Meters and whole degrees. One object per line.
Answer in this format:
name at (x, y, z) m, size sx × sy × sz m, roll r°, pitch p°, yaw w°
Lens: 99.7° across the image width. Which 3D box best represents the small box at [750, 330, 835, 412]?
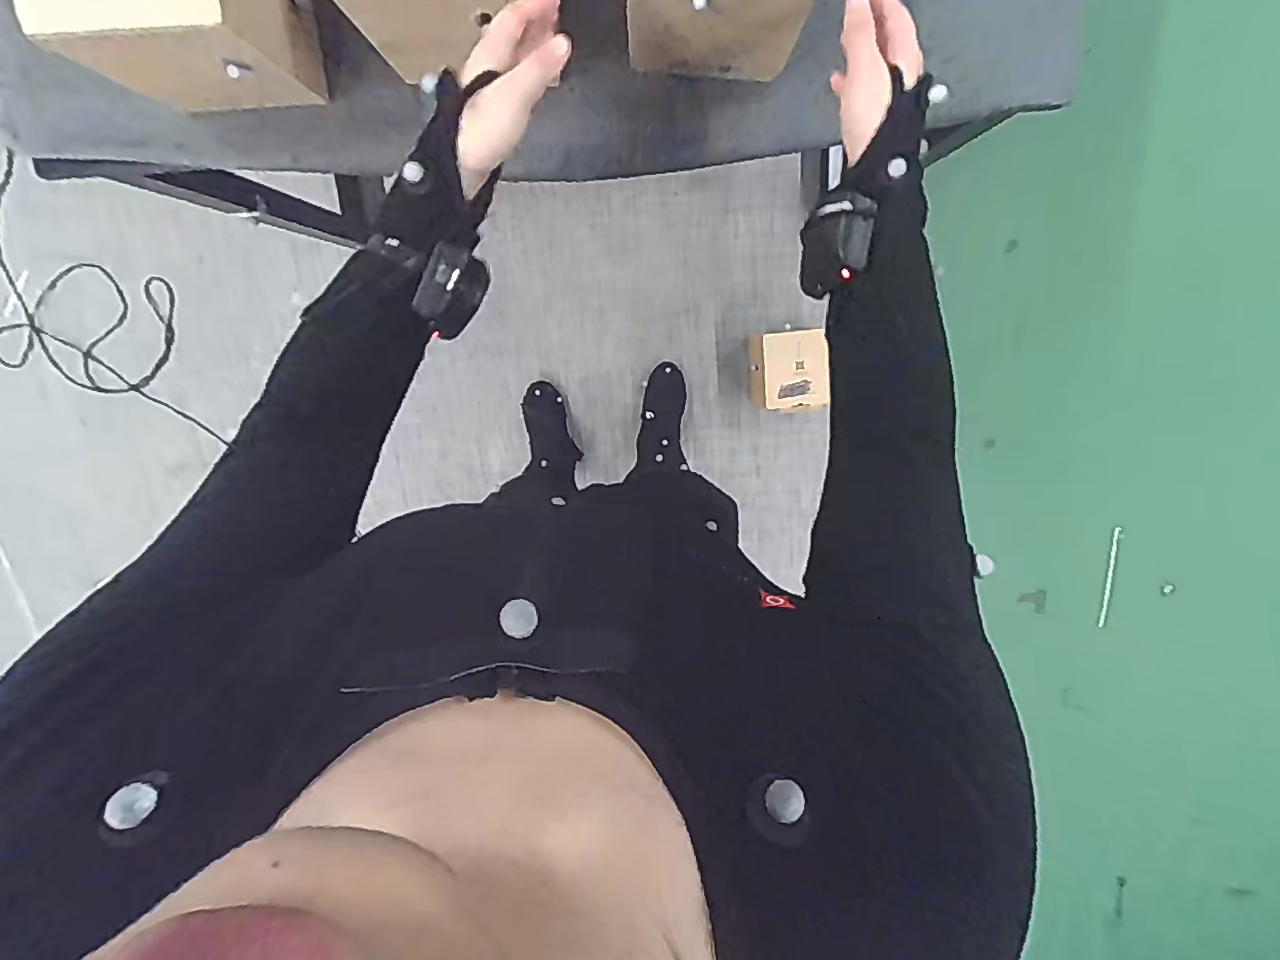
small box at (0.368, -0.271, 1.323) m, size 0.168 × 0.176 × 0.179 m, roll -5°, pitch 104°, yaw 2°
